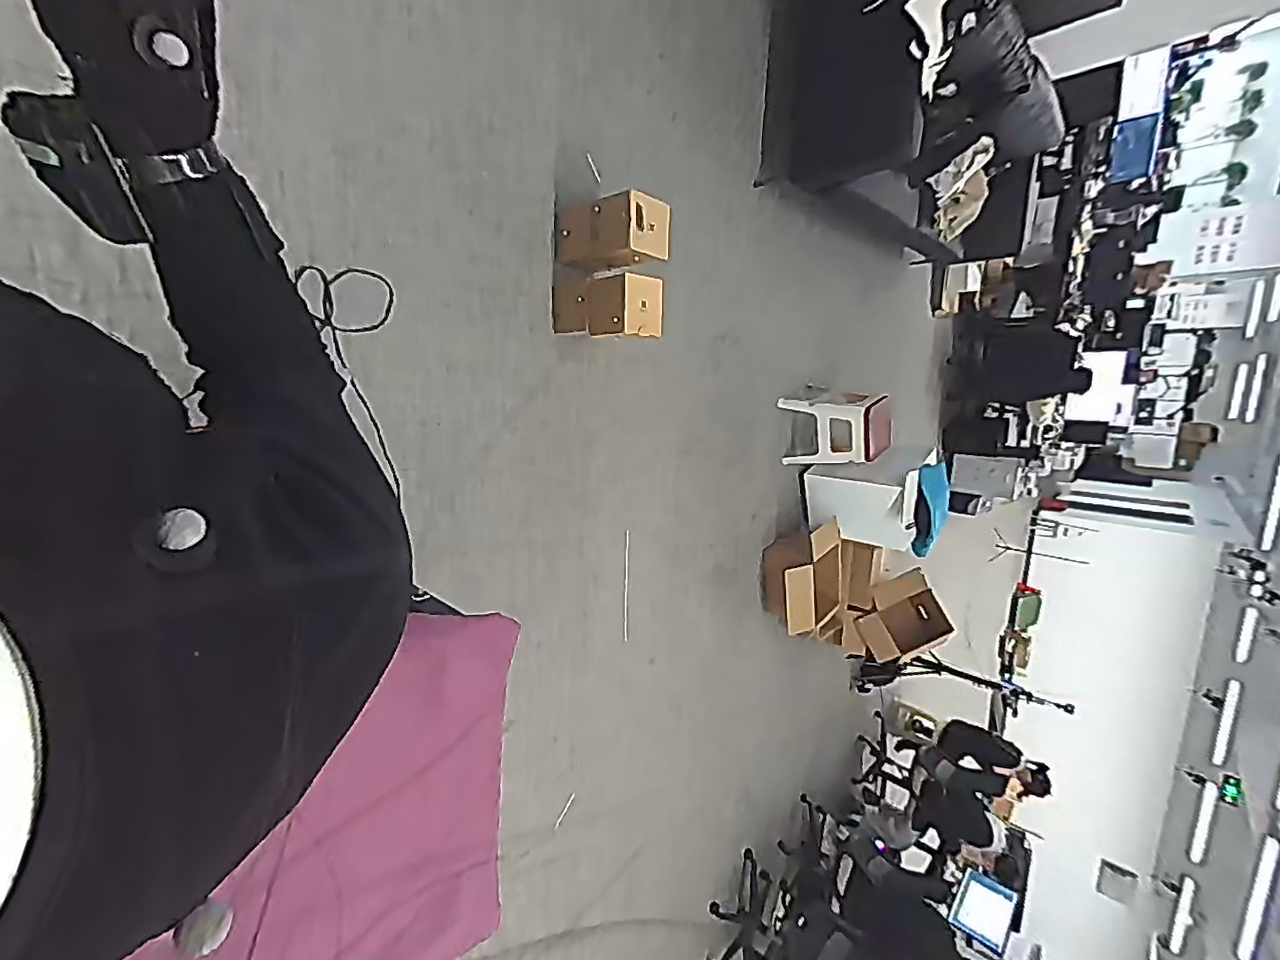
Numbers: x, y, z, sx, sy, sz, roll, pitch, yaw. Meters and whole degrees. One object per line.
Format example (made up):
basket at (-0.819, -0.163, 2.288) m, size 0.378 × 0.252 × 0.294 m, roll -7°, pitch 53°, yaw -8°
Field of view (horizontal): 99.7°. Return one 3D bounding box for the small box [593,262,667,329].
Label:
small box at (-0.034, -0.570, 1.692) m, size 0.168 × 0.176 × 0.179 m, roll -11°, pitch 107°, yaw -44°

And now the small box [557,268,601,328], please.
small box at (-0.154, -0.600, 1.799) m, size 0.179 × 0.176 × 0.168 m, roll -10°, pitch 106°, yaw -46°
